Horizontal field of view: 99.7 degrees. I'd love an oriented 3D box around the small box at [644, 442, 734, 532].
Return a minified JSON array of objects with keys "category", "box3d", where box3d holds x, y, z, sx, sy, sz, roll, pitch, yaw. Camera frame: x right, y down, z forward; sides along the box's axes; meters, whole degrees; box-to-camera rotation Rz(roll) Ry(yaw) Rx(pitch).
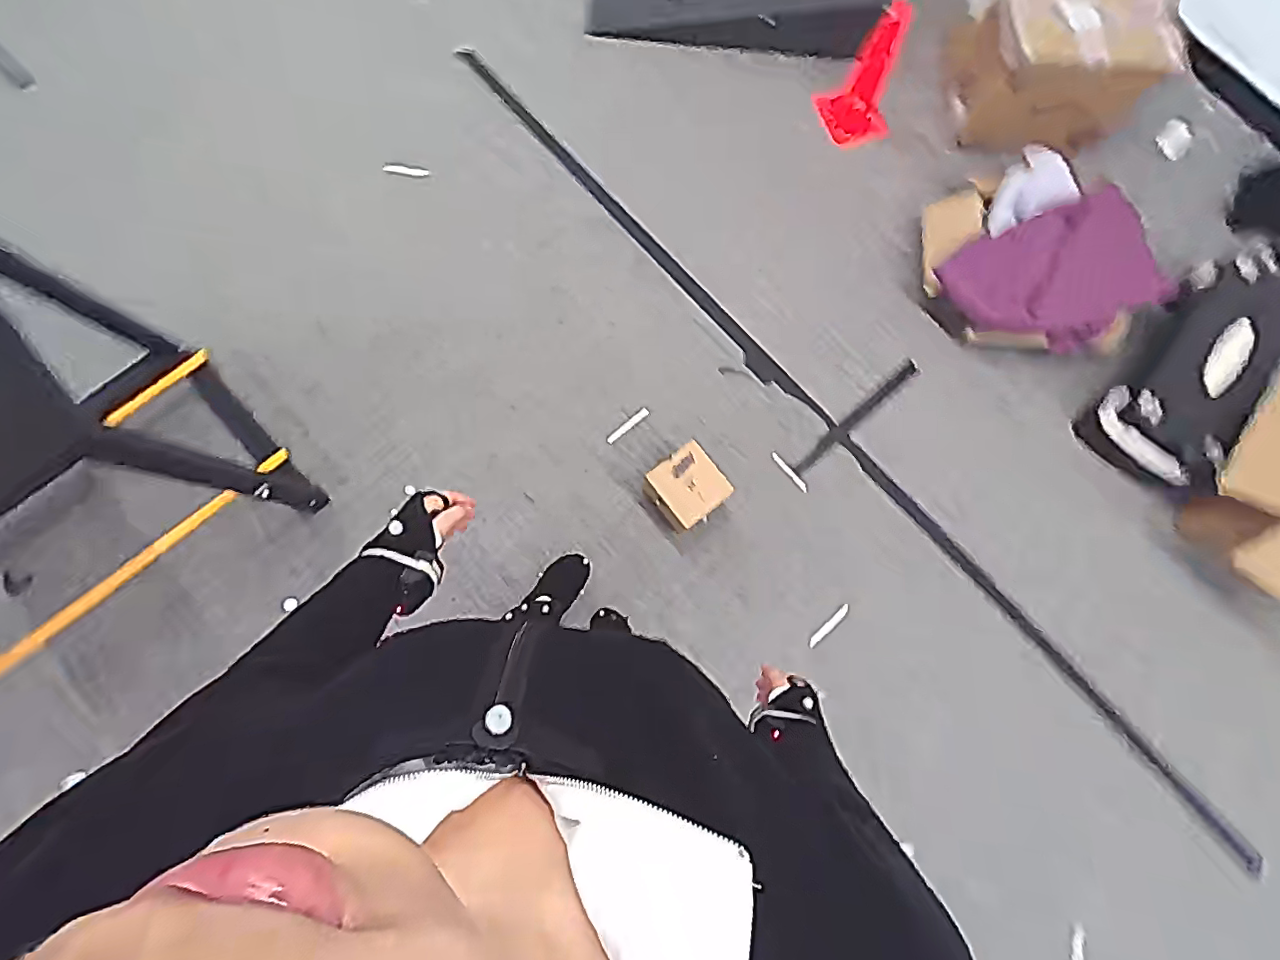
[{"category":"small box","box3d":[0.124,0.026,1.477,0.168,0.176,0.179,-36,84,-8]}]
